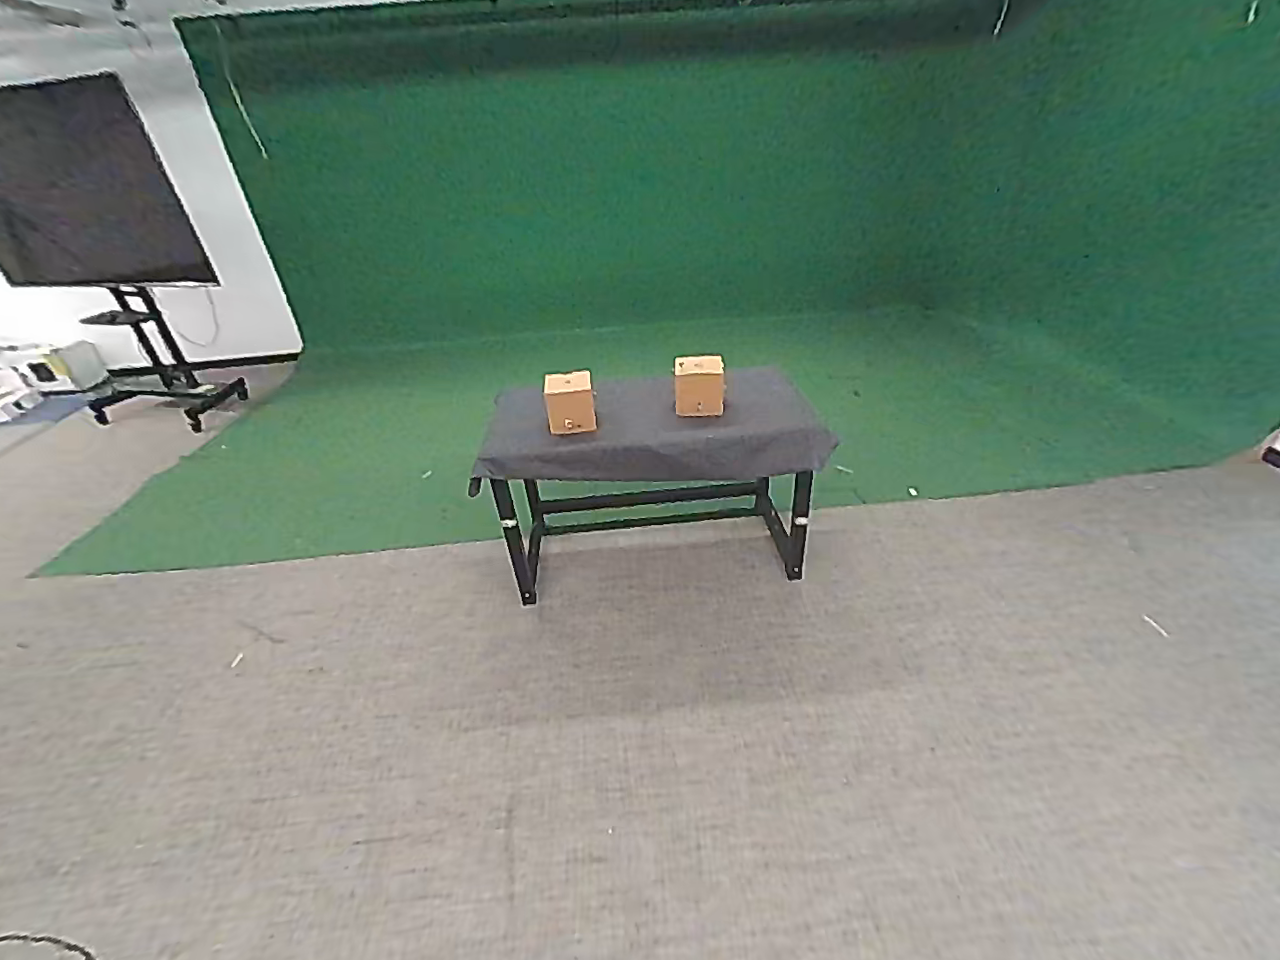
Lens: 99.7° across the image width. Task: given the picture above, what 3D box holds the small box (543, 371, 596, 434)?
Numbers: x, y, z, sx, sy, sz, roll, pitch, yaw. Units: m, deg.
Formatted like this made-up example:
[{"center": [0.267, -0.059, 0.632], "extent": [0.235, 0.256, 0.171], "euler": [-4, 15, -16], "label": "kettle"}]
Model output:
[{"center": [-0.254, -0.285, 1.981], "extent": [0.168, 0.176, 0.179], "euler": [-7, 32, -1], "label": "small box"}]

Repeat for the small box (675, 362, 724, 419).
[{"center": [0.223, -0.336, 2.037], "extent": [0.179, 0.176, 0.168], "euler": [0, 33, 6], "label": "small box"}]
